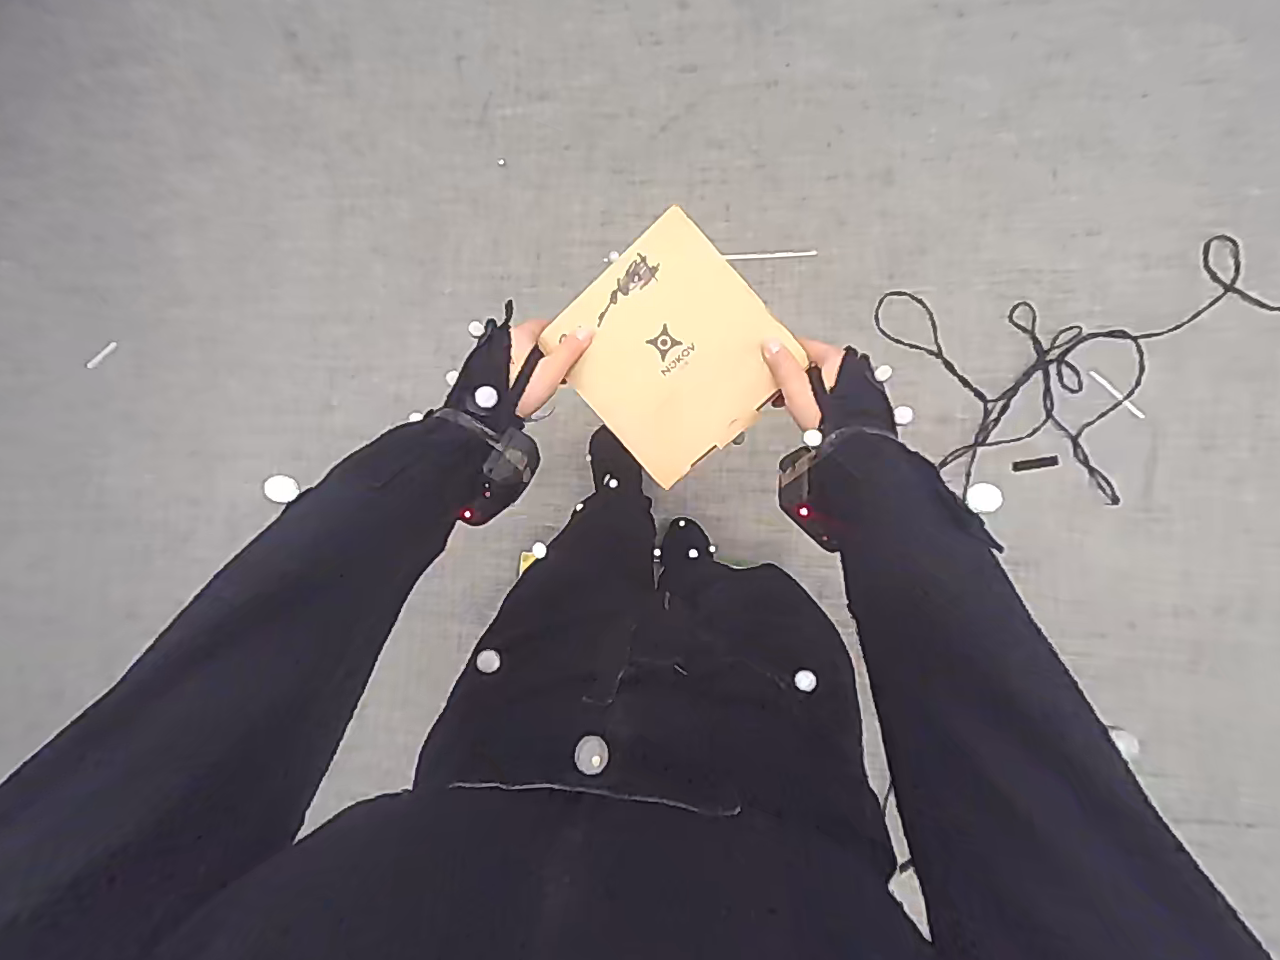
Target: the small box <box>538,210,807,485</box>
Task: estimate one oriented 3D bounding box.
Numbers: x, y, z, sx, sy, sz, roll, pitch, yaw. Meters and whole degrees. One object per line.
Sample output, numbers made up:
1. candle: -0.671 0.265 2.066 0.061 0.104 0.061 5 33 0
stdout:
1. small box: 0.034 -0.120 0.539 0.168 0.176 0.179 -41 91 8
